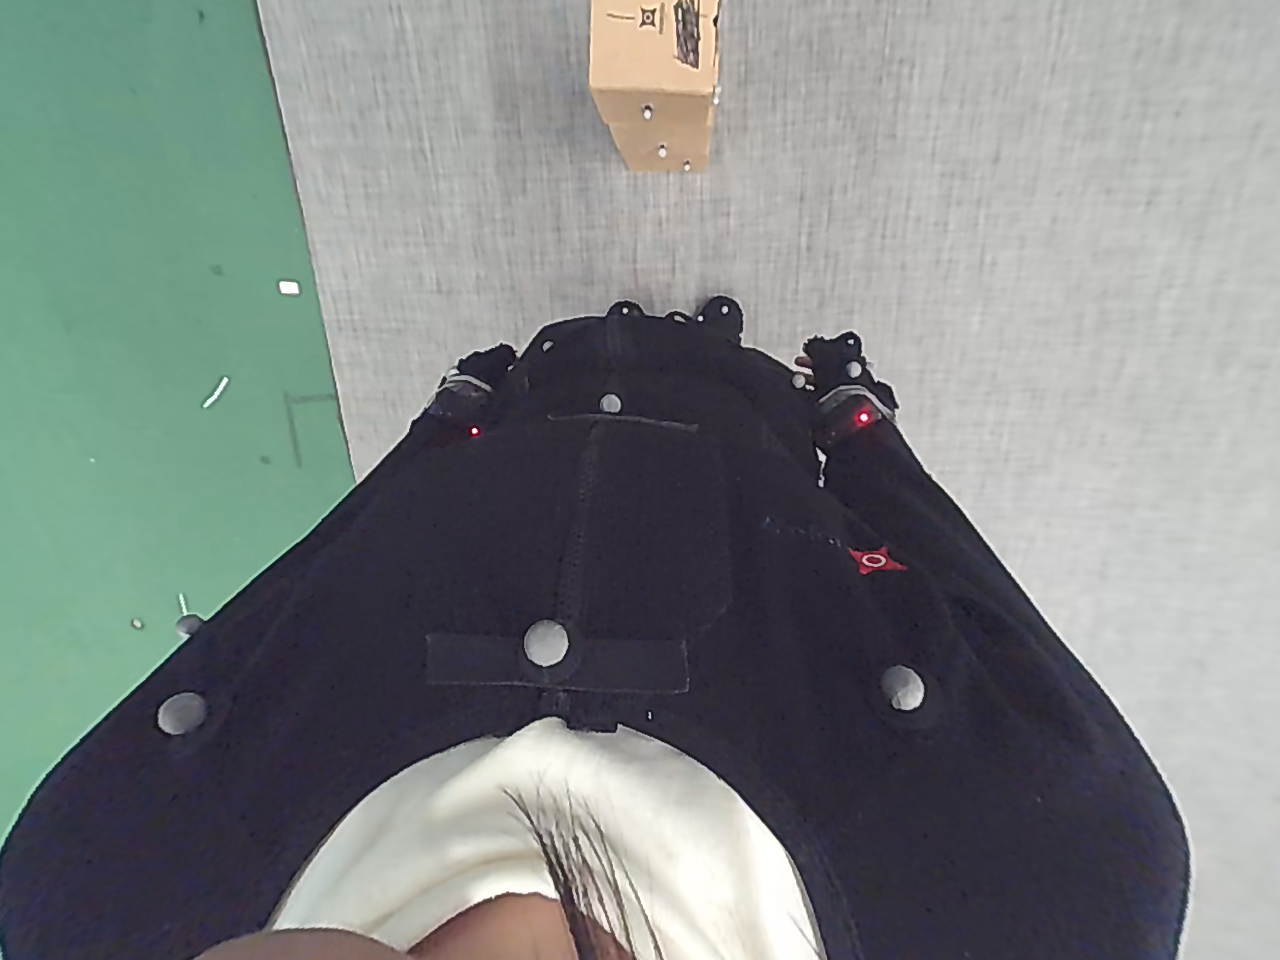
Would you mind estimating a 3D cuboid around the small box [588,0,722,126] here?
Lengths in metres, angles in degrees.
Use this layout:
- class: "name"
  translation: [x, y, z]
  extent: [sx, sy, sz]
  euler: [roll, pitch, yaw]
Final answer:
- class: "small box"
  translation: [0.026, -0.648, 0.805]
  extent: [0.179, 0.176, 0.168]
  euler: [6, 109, 4]

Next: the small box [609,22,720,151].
- class: "small box"
  translation: [0.041, -0.699, 0.961]
  extent: [0.179, 0.176, 0.168]
  euler: [4, 109, 3]

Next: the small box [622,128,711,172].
- class: "small box"
  translation: [0.057, -0.749, 1.116]
  extent: [0.179, 0.176, 0.168]
  euler: [2, 108, 5]
